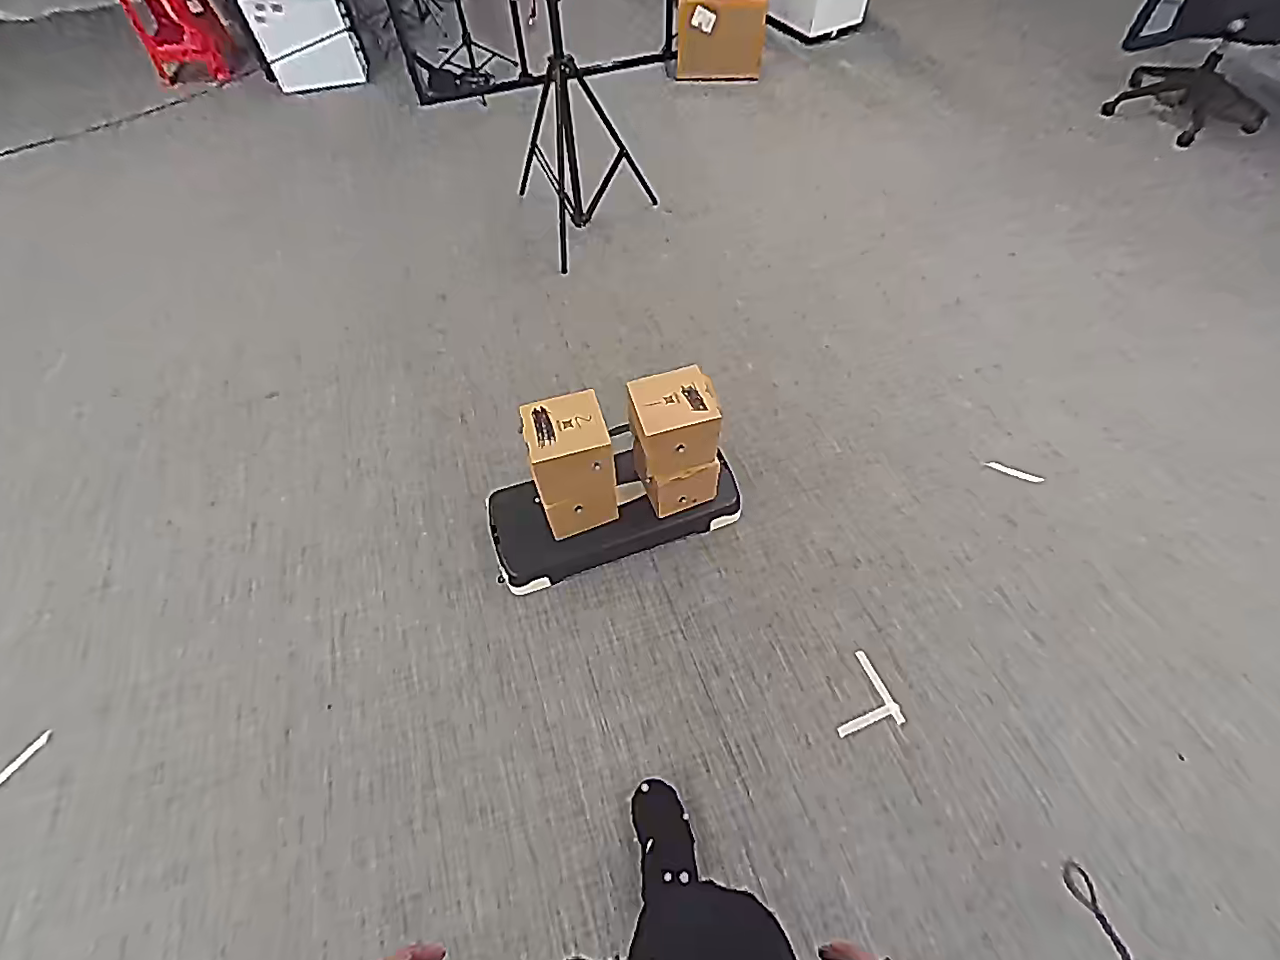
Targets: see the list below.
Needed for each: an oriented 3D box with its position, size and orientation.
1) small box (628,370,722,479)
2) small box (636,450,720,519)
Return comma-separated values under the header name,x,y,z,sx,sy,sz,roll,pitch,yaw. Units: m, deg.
name,x,y,z,sx,sy,sz,roll,pitch,yaw
small box,0.076,-0.127,1.270,0.179,0.176,0.168,-15,59,-7
small box,0.090,-0.028,1.401,0.168,0.176,0.179,-19,60,-10
